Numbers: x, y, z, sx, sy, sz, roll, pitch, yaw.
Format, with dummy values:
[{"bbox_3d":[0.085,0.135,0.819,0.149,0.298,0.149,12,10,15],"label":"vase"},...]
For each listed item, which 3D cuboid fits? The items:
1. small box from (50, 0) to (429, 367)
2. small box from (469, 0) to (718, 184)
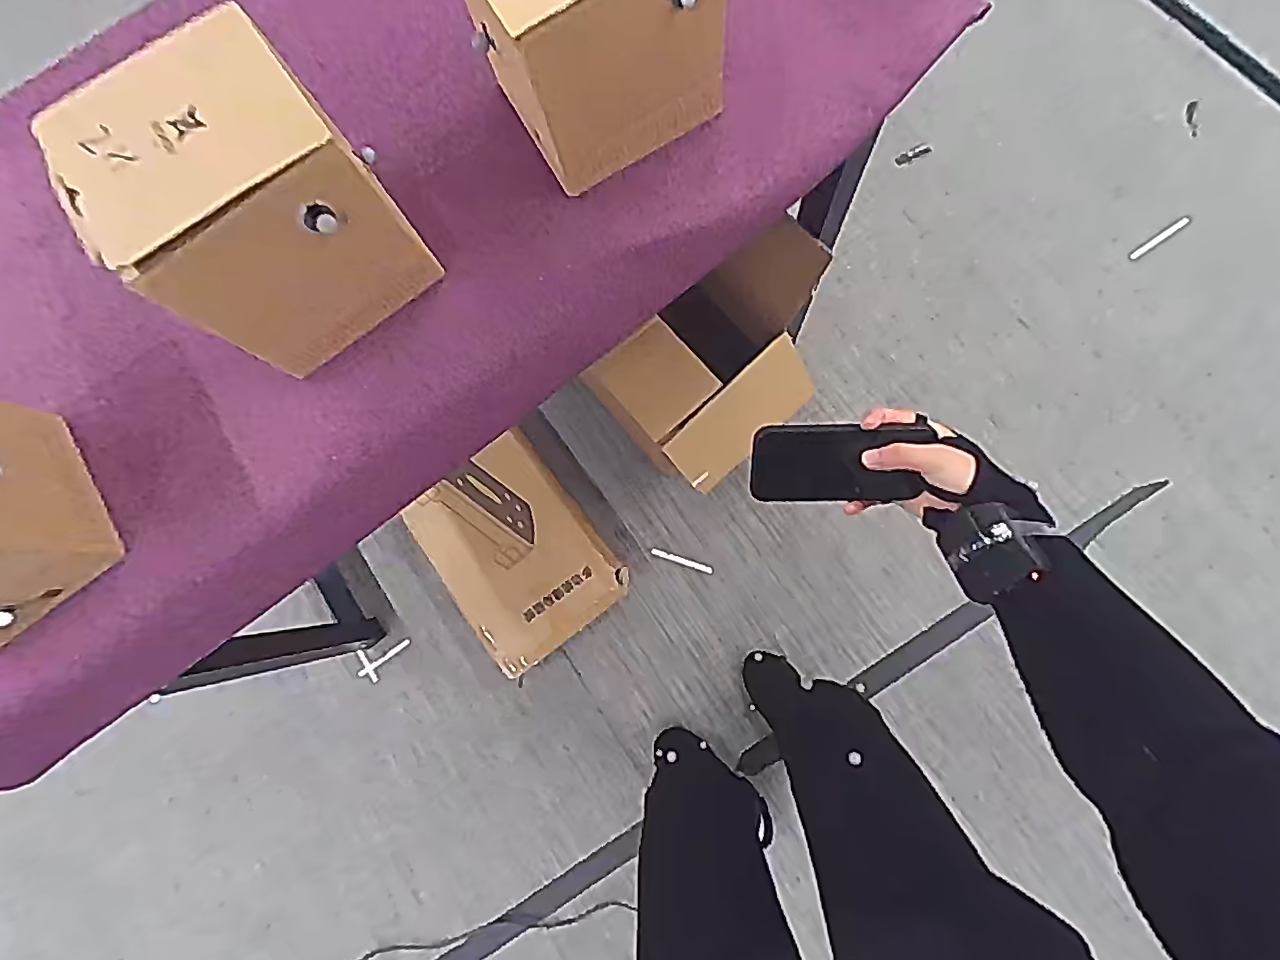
[{"bbox_3d":[-0.310,-0.231,0.460,0.179,0.176,0.168,-37,76,-1],"label":"small box"},{"bbox_3d":[-0.042,-0.402,0.464,0.179,0.176,0.168,-30,78,0],"label":"small box"}]
